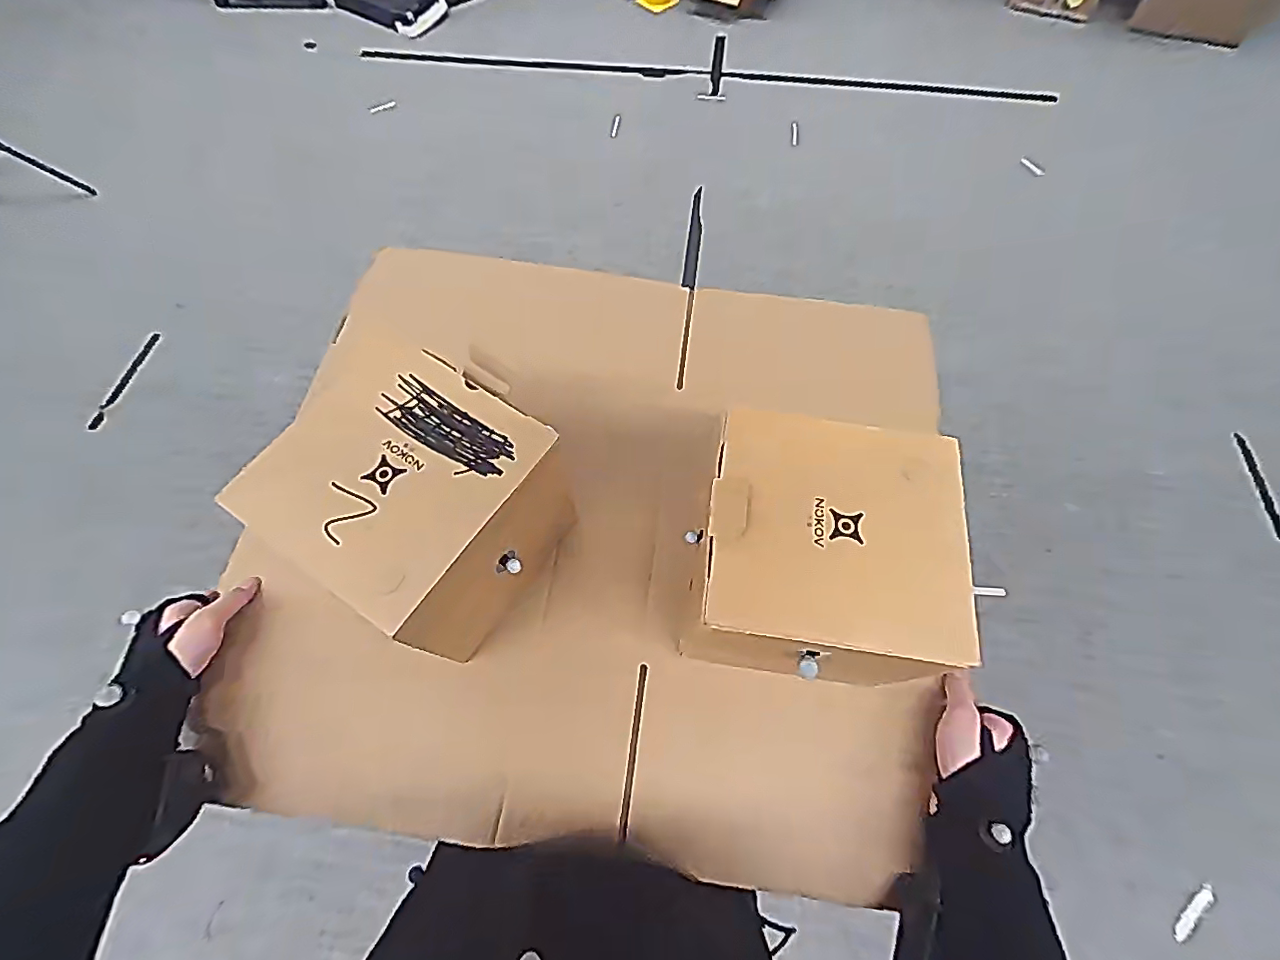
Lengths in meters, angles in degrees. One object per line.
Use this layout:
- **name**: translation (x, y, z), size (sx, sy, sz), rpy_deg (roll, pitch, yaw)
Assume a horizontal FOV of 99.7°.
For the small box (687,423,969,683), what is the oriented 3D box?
- **small box**: translation (0.141, 0.073, 0.461), size (0.179, 0.176, 0.168), rpy_deg (8, 66, 4)
